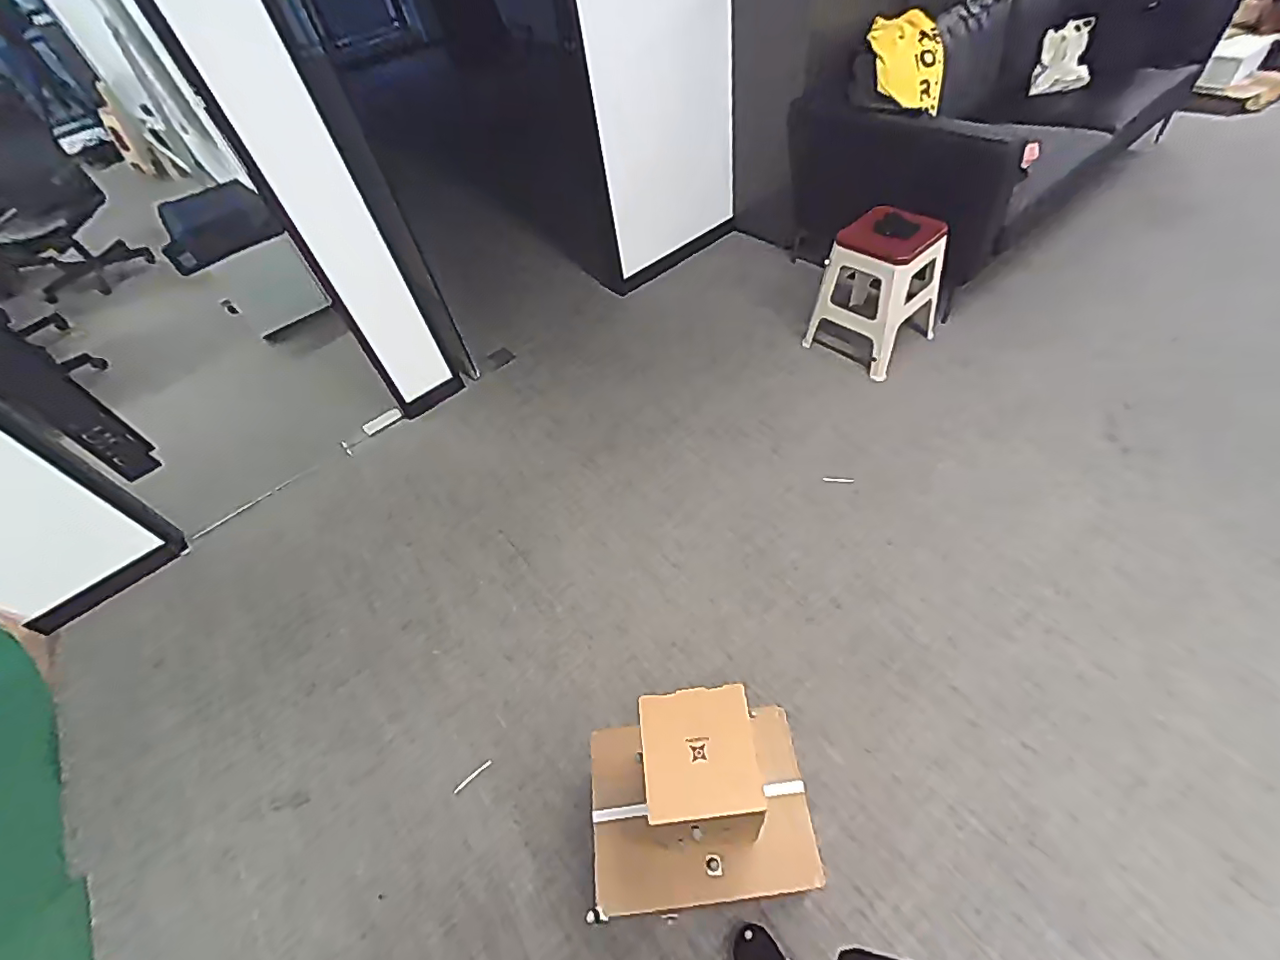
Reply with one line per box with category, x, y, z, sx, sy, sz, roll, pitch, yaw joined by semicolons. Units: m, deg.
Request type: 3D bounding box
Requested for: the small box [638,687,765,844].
small box;0.094;0.446;0.837;0.168;0.176;0.179;-9;47;2
